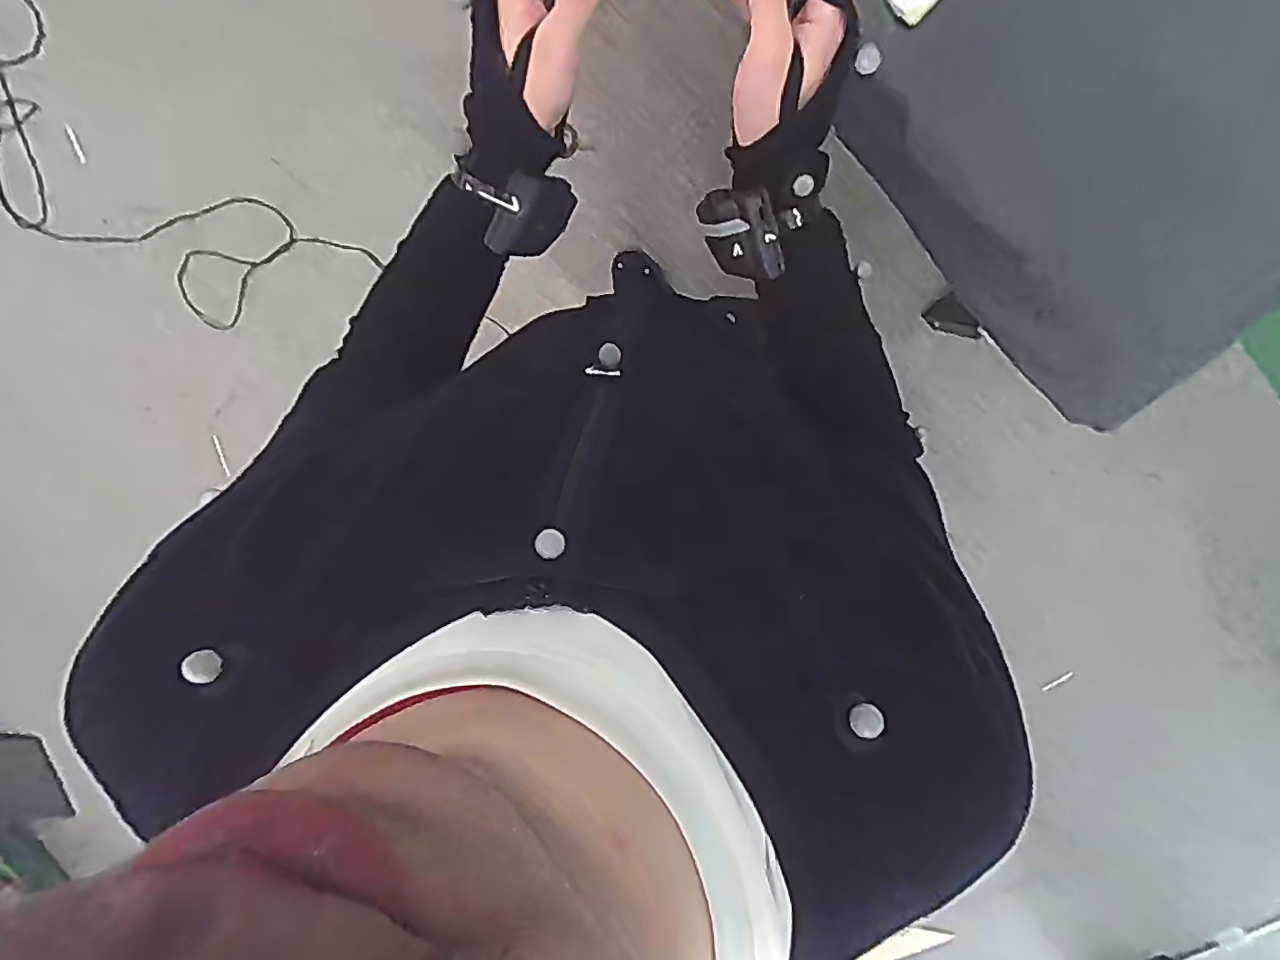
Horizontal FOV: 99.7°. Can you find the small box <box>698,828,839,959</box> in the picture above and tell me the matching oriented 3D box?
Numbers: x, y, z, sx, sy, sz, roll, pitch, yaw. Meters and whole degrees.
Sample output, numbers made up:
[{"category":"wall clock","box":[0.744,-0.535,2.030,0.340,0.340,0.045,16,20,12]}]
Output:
[{"category":"small box","box":[0.220,0.765,0.968,0.179,0.176,0.168,40,112,-12]}]
